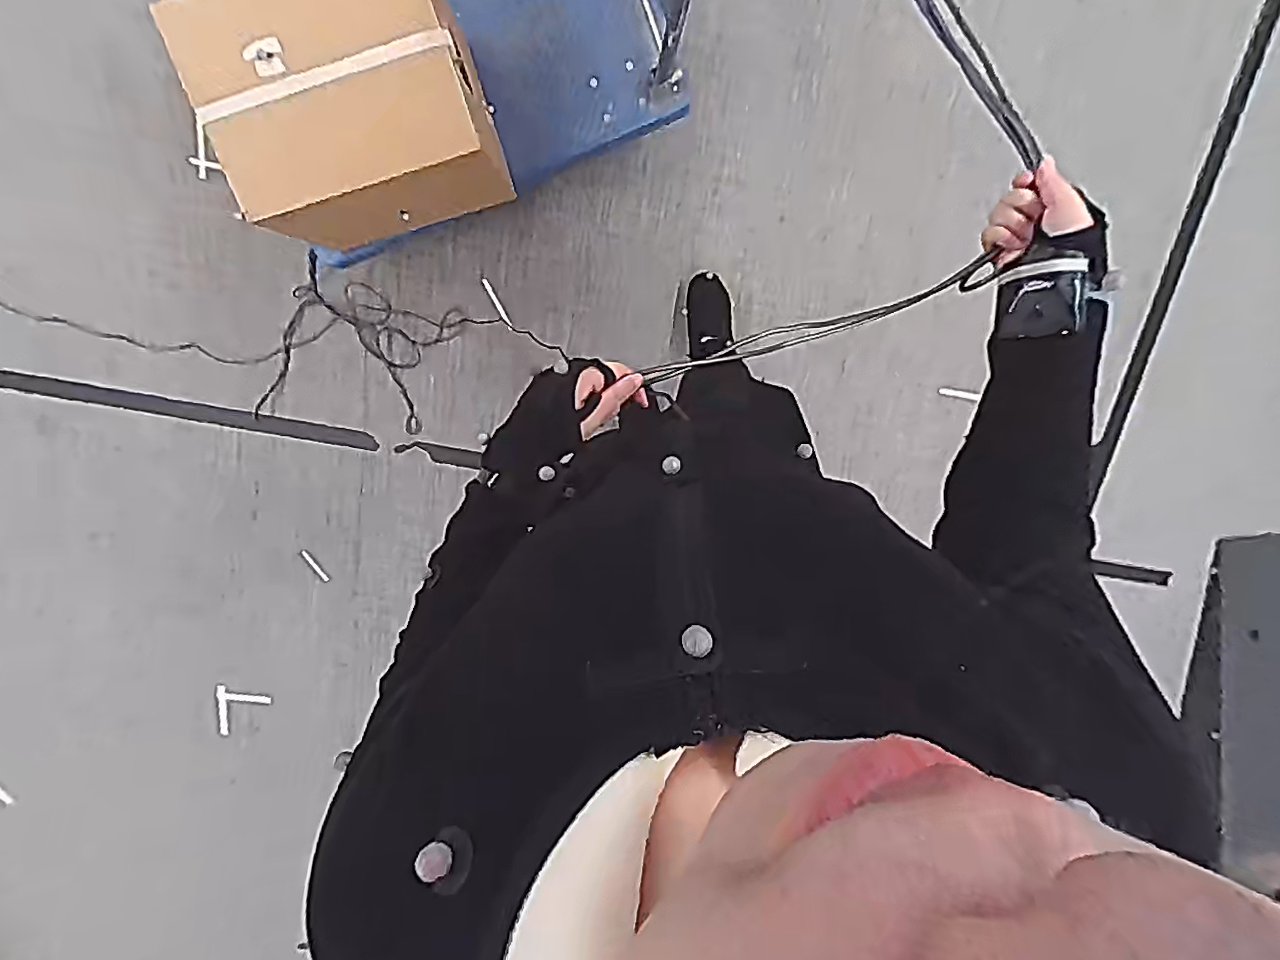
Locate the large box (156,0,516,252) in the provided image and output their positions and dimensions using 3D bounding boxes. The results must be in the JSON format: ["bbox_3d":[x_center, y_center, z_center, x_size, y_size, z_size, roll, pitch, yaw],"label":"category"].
[{"bbox_3d":[-0.487,-0.642,0.968,0.408,0.320,0.320,-17,104,3],"label":"large box"}]
